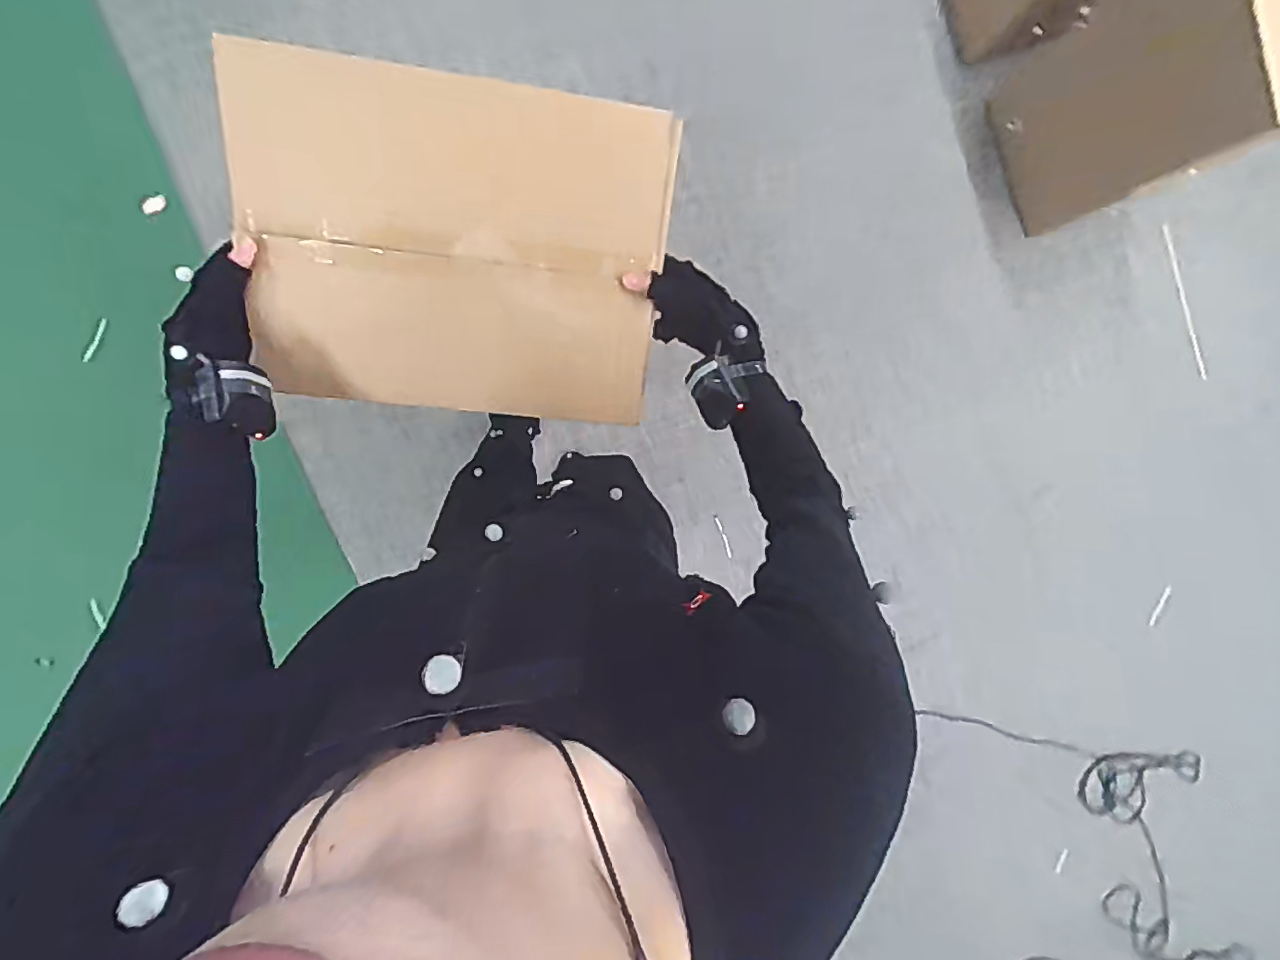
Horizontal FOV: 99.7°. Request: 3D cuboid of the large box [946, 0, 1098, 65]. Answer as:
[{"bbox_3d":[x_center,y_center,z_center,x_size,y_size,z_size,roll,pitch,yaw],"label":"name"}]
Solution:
[{"bbox_3d":[0.965,-1.347,1.308,0.320,0.320,0.408,-20,95,-3],"label":"large box"}]
